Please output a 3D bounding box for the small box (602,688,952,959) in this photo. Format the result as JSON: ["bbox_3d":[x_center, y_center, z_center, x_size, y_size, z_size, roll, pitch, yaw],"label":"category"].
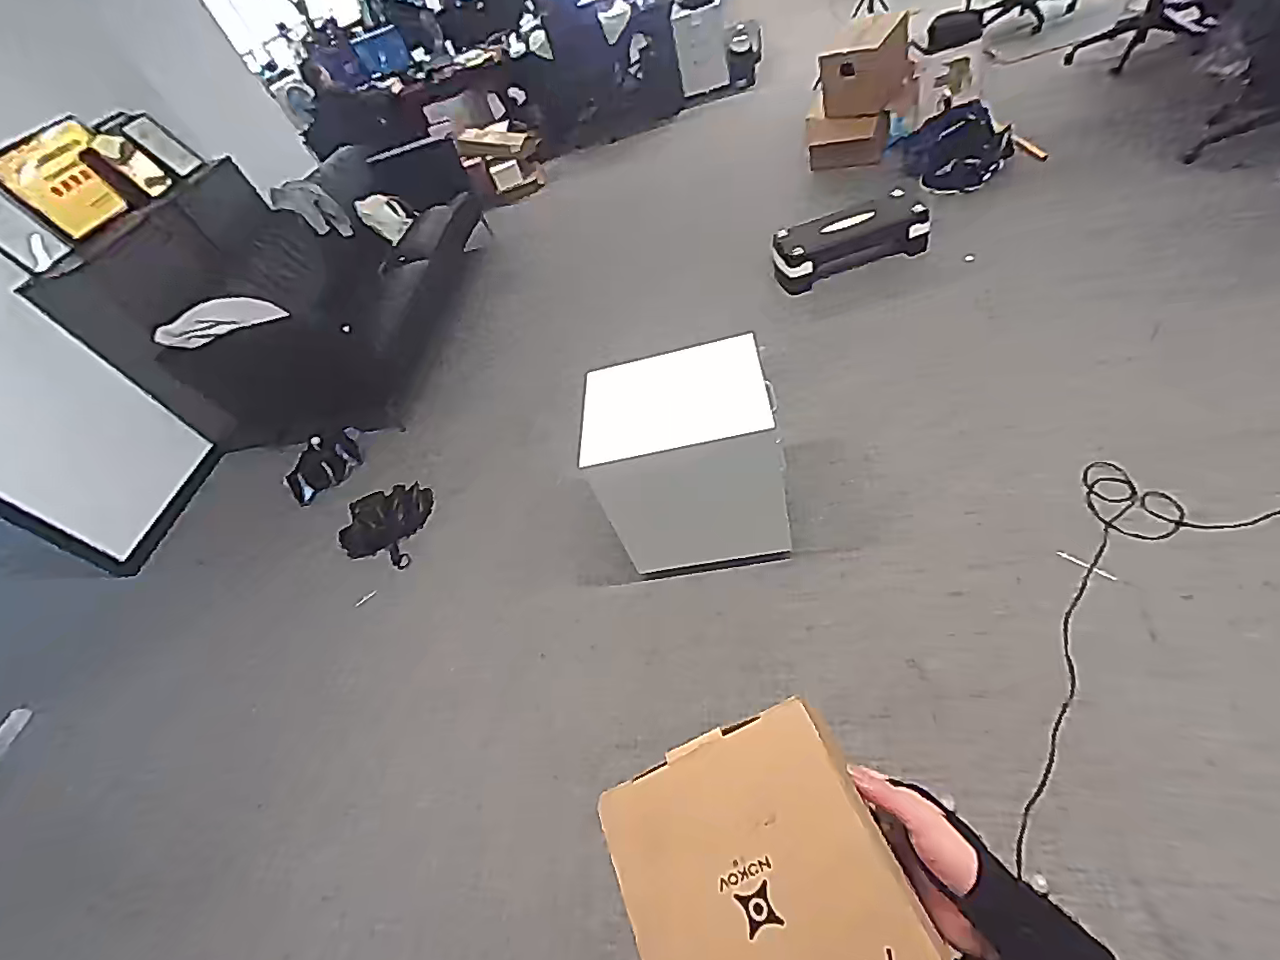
[{"bbox_3d":[0.099,0.284,0.401,0.168,0.176,0.179,-30,55,6],"label":"small box"}]
